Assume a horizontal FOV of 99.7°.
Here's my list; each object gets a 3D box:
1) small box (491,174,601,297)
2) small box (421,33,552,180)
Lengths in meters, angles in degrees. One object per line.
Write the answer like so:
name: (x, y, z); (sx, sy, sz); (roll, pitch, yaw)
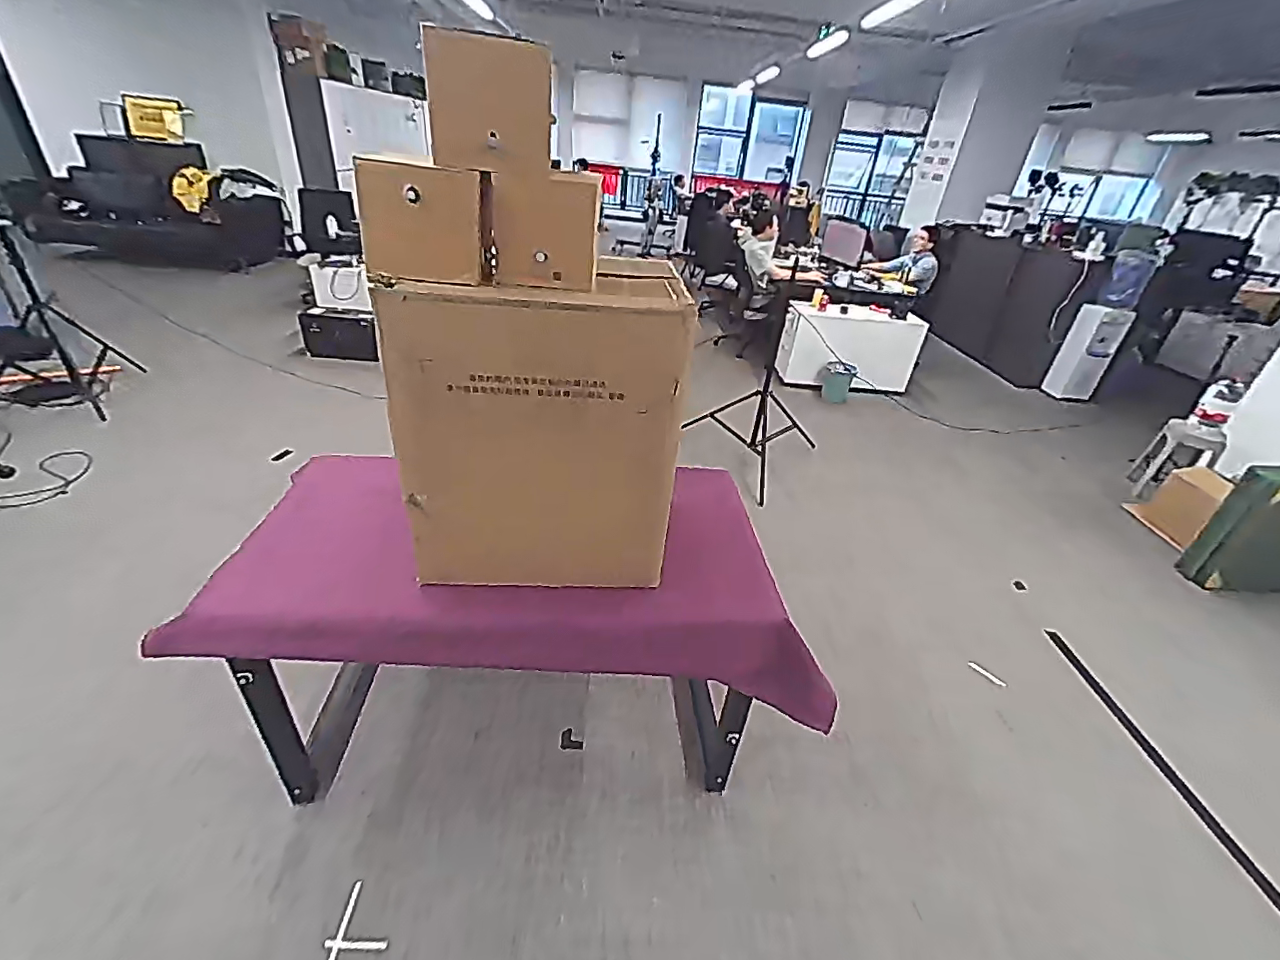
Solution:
small box: (-0.158, -0.433, 0.947); (0.168, 0.176, 0.179); (3, 34, -4)
small box: (-0.235, -0.572, 0.847); (0.179, 0.176, 0.168); (-2, 34, -14)
